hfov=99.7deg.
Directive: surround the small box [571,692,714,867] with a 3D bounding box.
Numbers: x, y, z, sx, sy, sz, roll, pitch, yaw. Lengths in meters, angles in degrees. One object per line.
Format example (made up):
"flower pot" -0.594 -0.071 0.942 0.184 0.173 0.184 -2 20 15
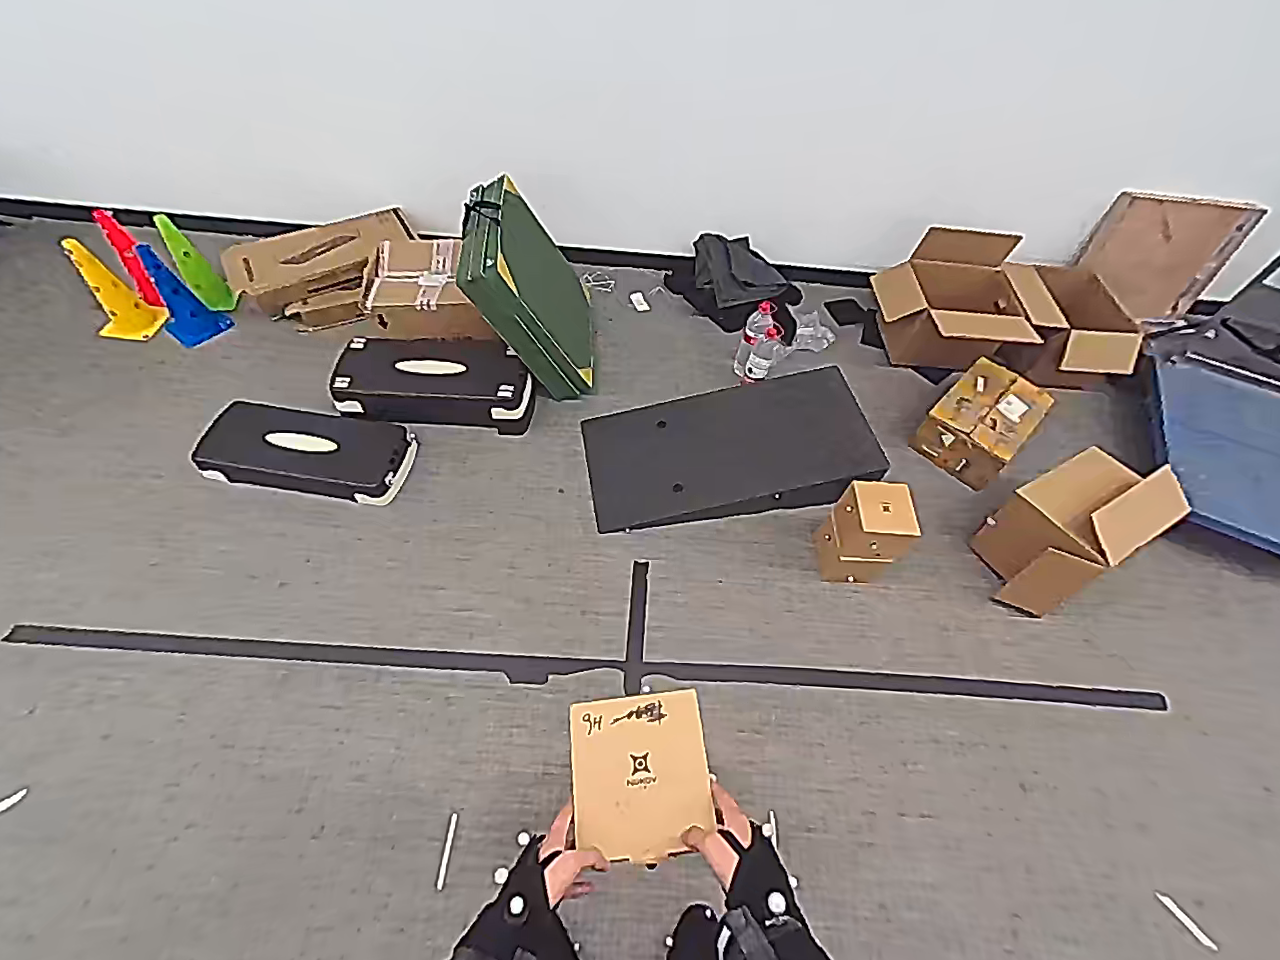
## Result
"small box" 0.003 0.394 0.722 0.168 0.176 0.179 -6 59 -1
